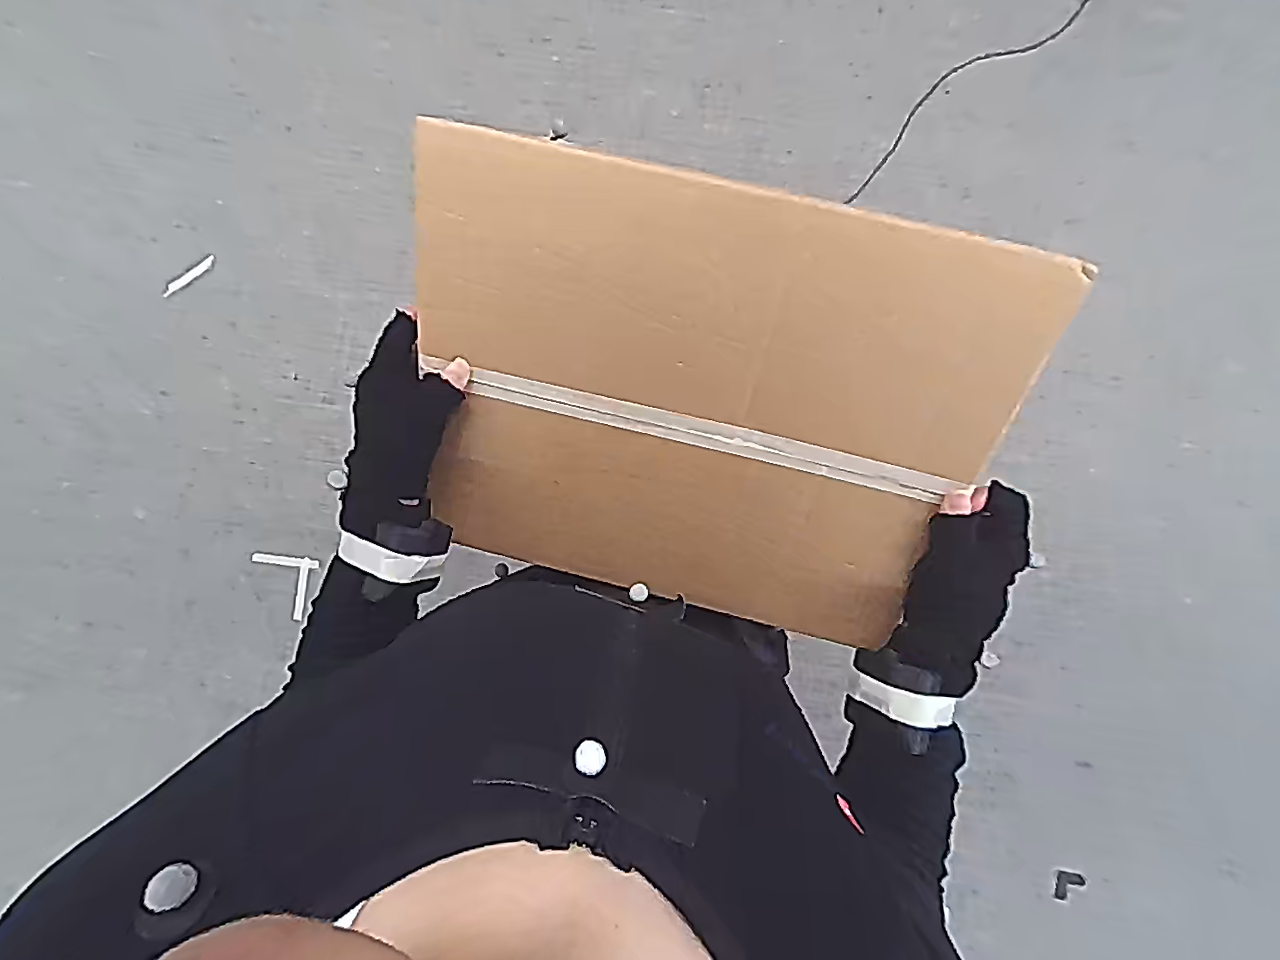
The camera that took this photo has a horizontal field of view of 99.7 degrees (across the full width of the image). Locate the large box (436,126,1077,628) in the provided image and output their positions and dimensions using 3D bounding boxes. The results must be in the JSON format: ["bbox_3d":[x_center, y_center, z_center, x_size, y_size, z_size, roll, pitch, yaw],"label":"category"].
[{"bbox_3d":[0.061,-0.116,0.528,0.408,0.320,0.320,14,121,3],"label":"large box"}]
